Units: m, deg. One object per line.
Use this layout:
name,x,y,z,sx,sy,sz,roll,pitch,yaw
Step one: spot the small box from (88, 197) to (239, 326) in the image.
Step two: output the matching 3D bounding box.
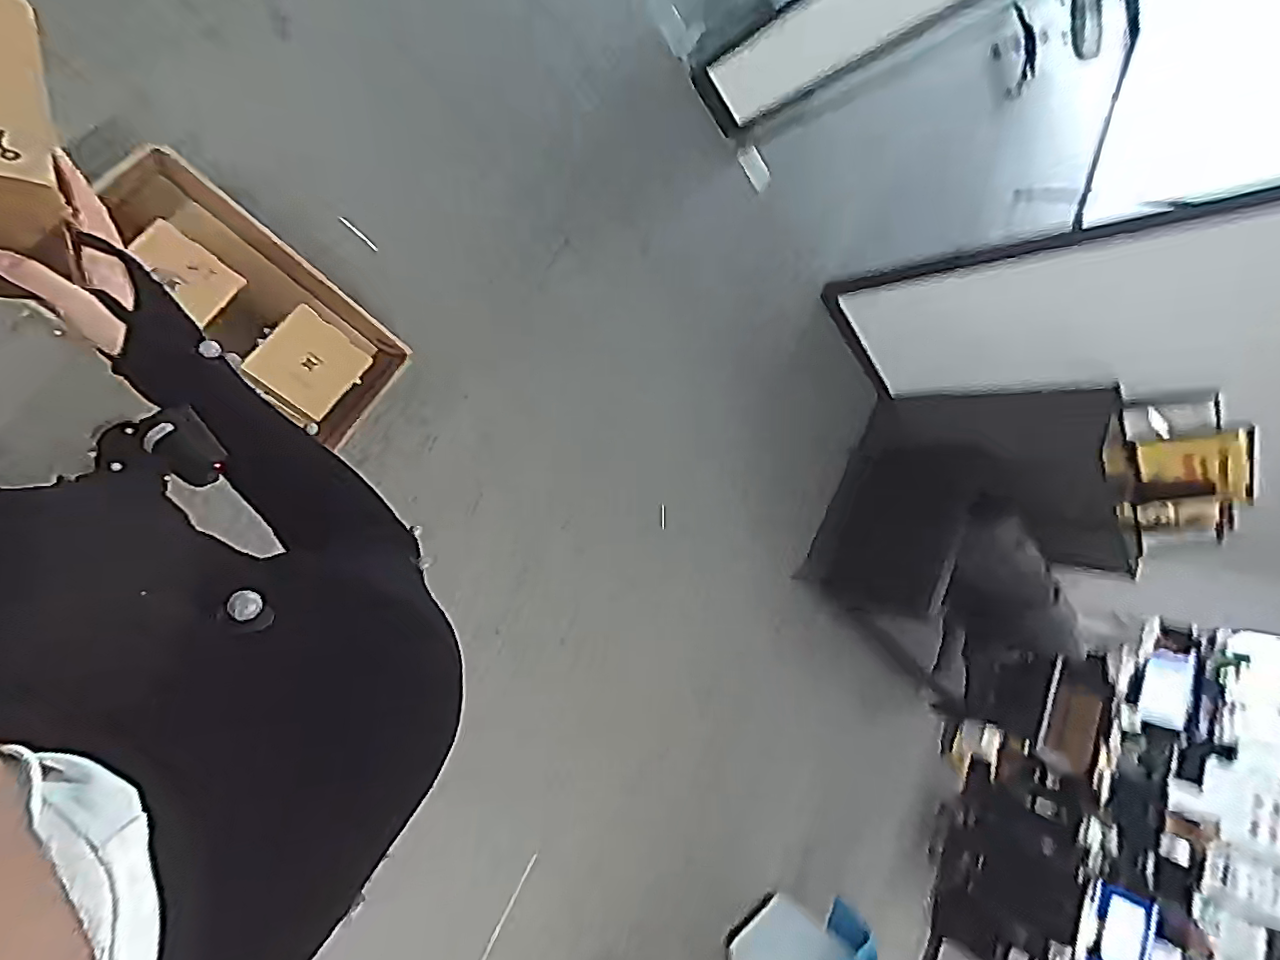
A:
small box,-0.982,-0.443,1.128,0.168,0.176,0.179,43,69,-37

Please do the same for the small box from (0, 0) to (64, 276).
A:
small box,-0.579,-0.290,0.416,0.168,0.176,0.179,-10,80,-44

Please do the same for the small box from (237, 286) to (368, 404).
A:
small box,-0.725,-0.281,1.154,0.168,0.176,0.179,45,68,-33

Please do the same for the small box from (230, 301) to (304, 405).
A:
small box,-0.830,-0.293,1.280,0.168,0.176,0.179,43,69,-35
